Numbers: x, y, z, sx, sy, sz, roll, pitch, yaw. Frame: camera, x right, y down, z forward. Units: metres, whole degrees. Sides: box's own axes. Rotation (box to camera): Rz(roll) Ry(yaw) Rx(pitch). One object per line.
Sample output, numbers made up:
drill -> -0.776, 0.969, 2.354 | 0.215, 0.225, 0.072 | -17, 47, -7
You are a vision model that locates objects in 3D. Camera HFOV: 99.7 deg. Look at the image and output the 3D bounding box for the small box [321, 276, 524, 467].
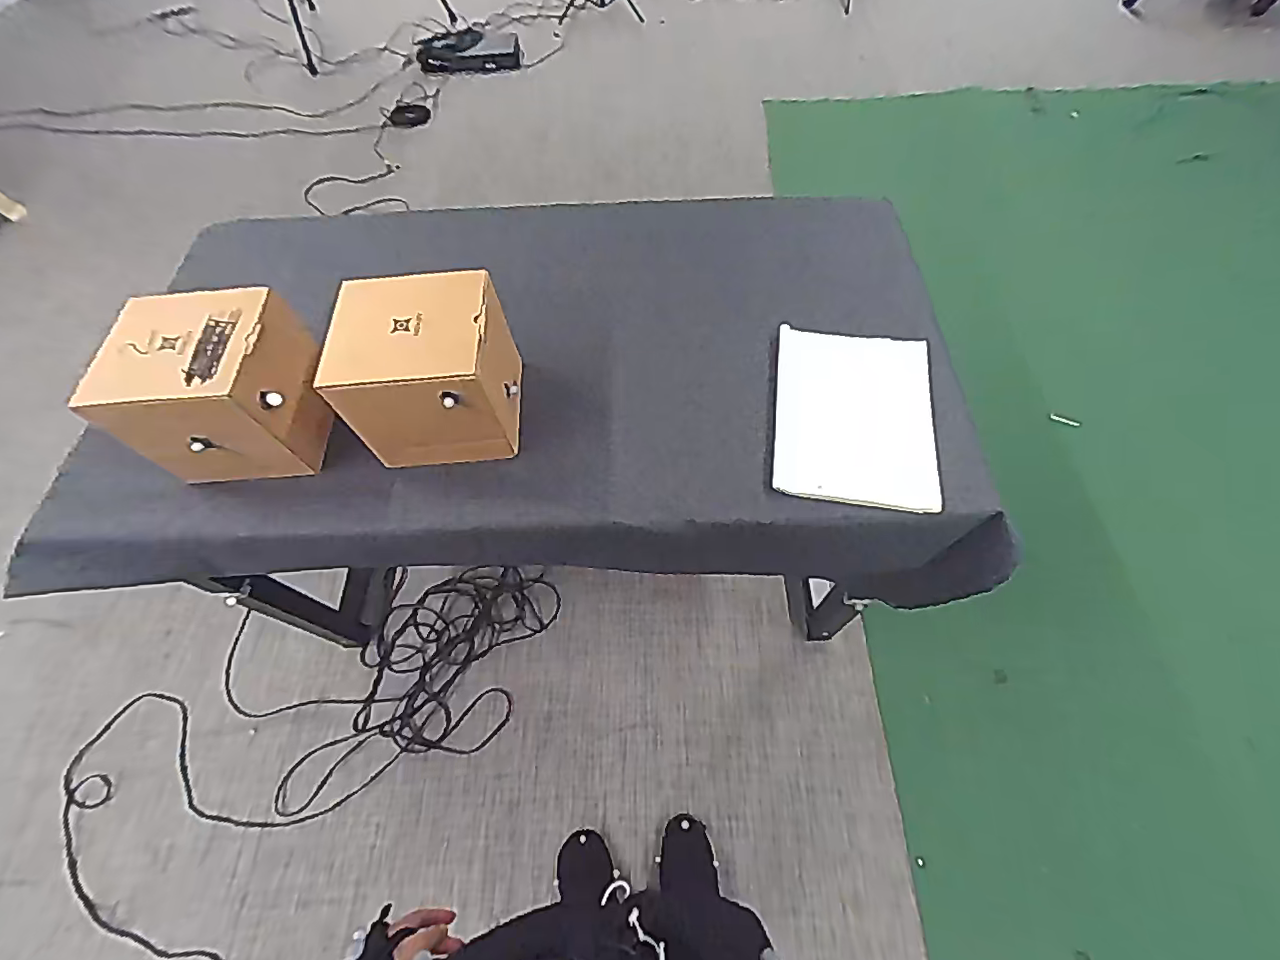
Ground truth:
small box -> -0.255, -0.129, 0.681 | 0.179, 0.176, 0.168 | -5, 60, 0
